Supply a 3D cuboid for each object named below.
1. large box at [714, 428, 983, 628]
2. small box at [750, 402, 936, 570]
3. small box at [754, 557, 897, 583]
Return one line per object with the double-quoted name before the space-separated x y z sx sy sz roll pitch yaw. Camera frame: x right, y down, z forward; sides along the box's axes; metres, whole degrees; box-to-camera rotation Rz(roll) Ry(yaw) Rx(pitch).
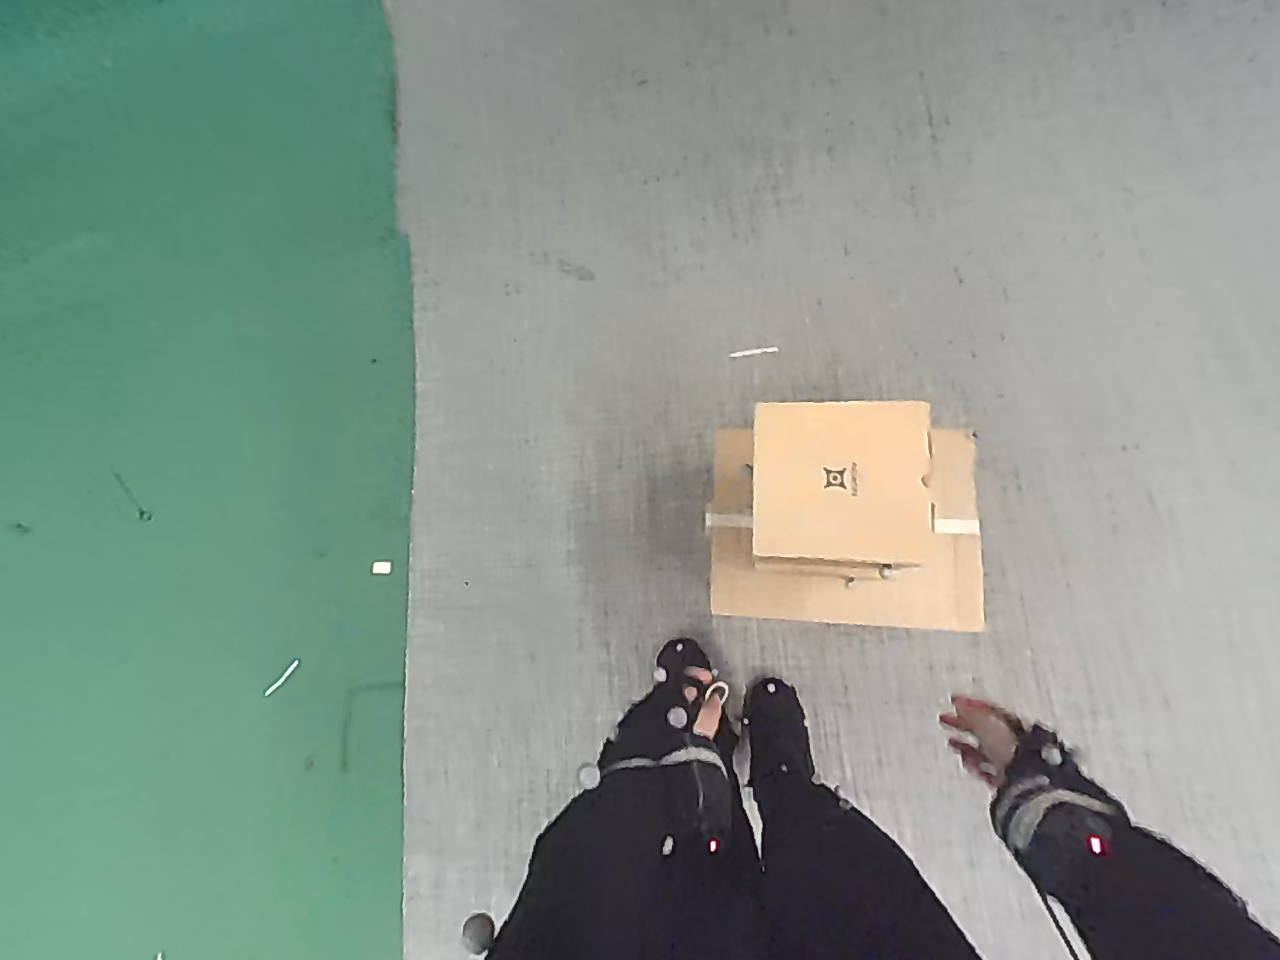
"large box" 0.344 0.095 1.005 0.408 0.320 0.320 1 81 10
"small box" 0.219 0.015 0.625 0.179 0.176 0.168 1 79 11
"small box" 0.256 0.059 0.778 0.179 0.176 0.168 1 79 13
